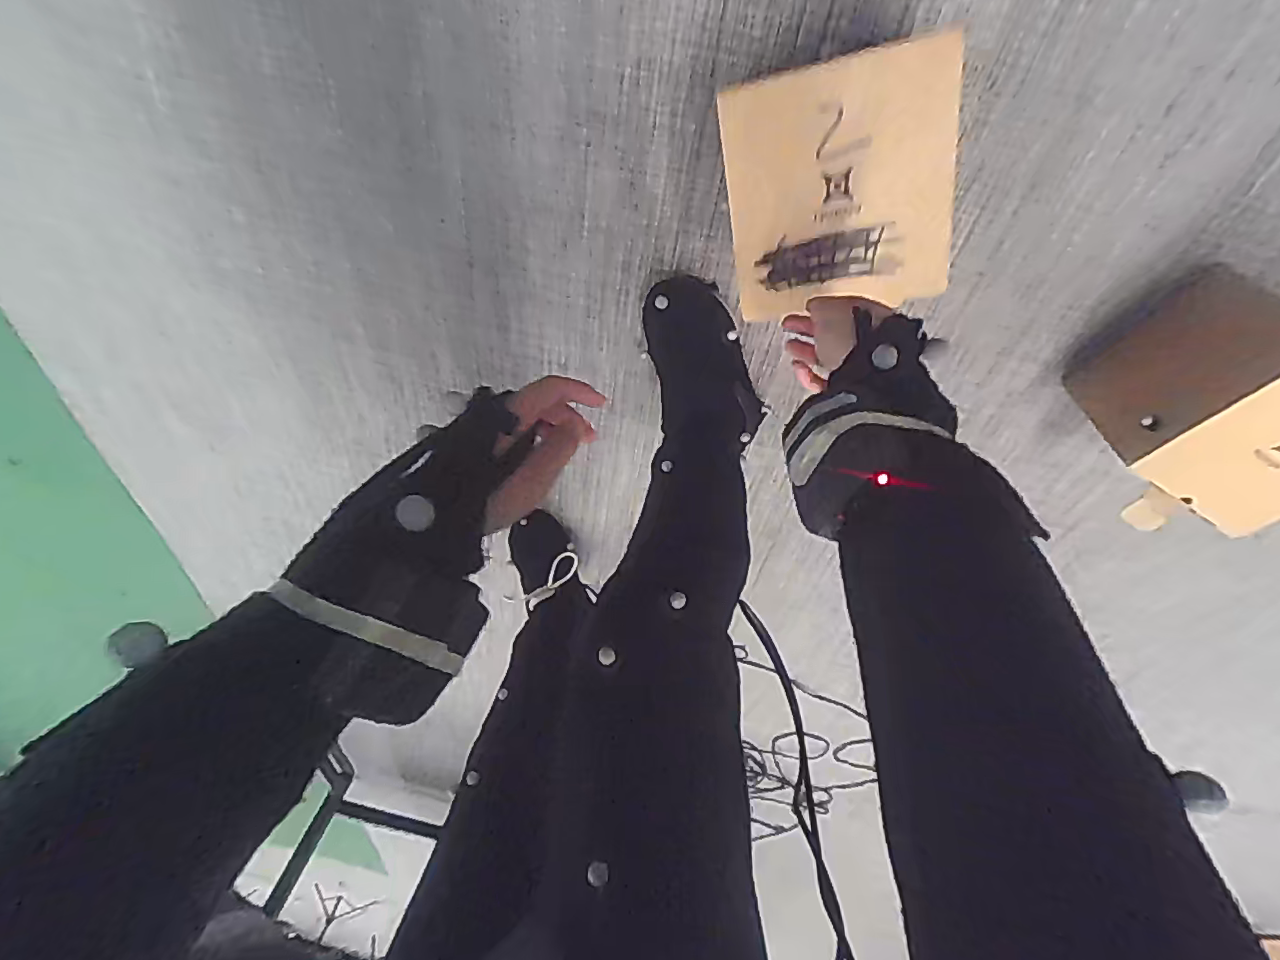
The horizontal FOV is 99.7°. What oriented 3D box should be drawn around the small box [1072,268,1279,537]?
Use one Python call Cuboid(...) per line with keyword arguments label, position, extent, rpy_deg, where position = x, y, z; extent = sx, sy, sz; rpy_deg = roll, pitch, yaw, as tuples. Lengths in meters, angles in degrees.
Cuboid(label="small box", position=(0.604, -0.081, 0.550), extent=(0.168, 0.176, 0.179), rpy_deg=(28, 131, -11))
